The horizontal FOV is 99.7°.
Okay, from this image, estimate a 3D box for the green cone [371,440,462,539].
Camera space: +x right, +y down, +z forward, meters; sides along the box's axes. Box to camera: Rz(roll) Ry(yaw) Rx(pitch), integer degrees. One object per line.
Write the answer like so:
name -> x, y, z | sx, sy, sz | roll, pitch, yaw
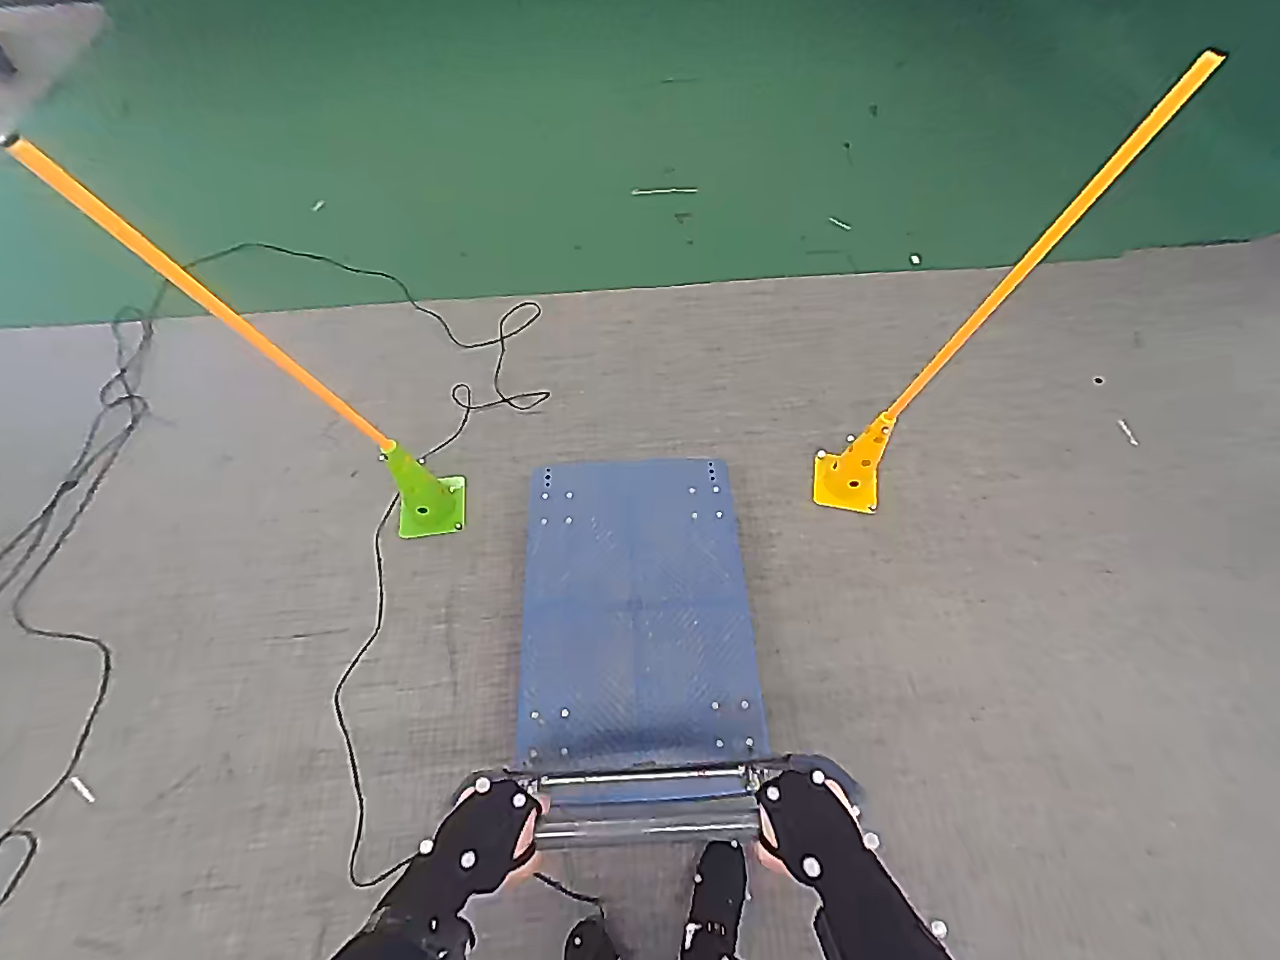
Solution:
green cone -> -0.667, -0.004, 1.553 | 0.202, 0.368, 0.200 | -9, 60, -3
